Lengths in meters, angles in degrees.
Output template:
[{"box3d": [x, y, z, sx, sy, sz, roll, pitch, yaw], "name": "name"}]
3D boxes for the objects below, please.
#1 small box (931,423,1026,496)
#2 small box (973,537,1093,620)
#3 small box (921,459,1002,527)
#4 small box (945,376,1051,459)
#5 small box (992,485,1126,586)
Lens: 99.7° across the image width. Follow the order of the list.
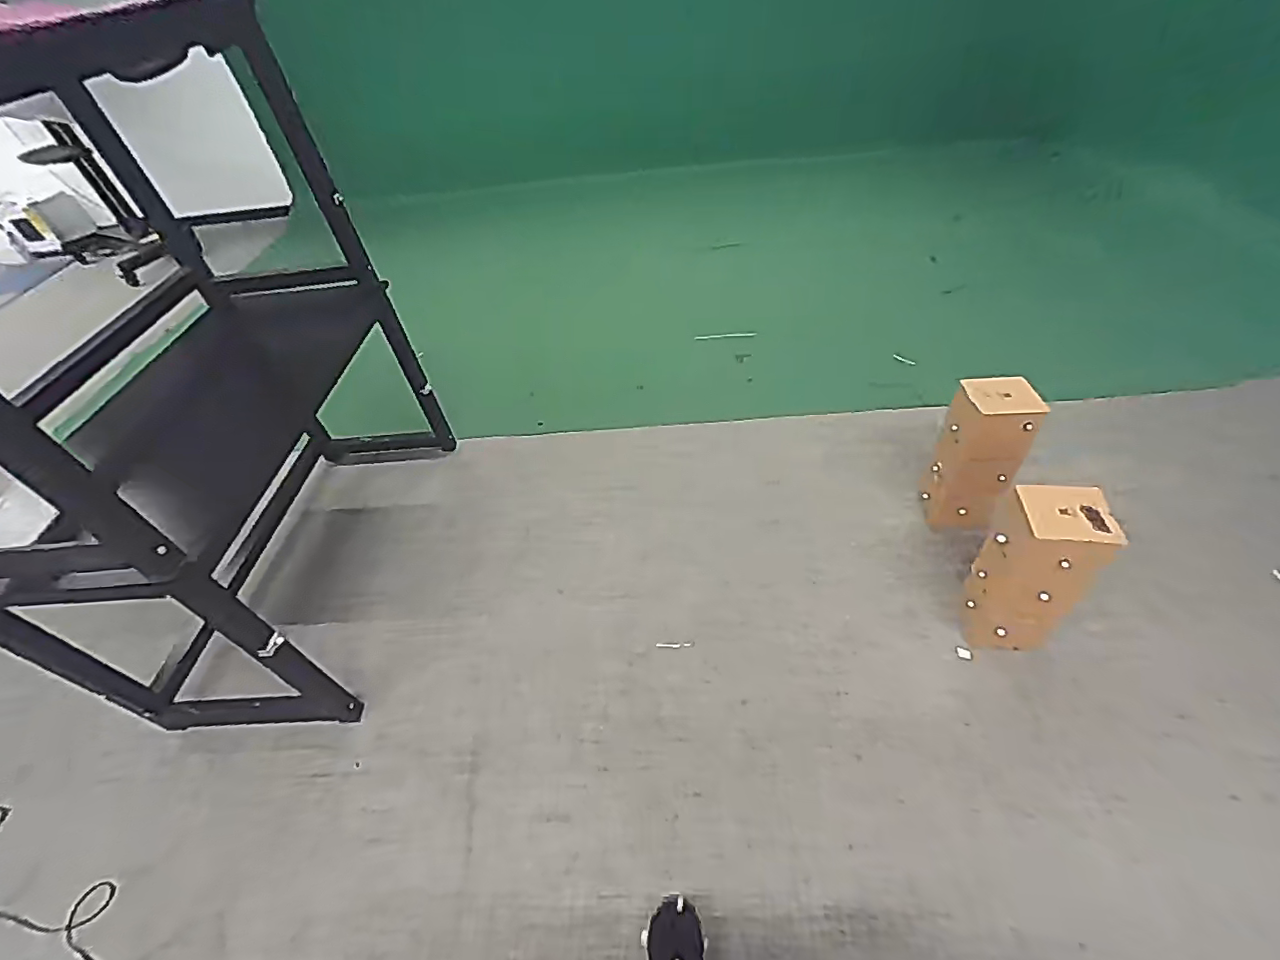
[{"box3d": [1.028, -0.065, 1.660, 0.179, 0.176, 0.168, -4, 46, 6], "name": "small box"}, {"box3d": [0.988, 0.243, 1.379, 0.179, 0.176, 0.168, 2, 48, 11], "name": "small box"}, {"box3d": [1.047, 0.043, 1.780, 0.179, 0.176, 0.168, -1, 47, 8], "name": "small box"}, {"box3d": [1.008, -0.176, 1.539, 0.179, 0.176, 0.168, -3, 45, 5], "name": "small box"}, {"box3d": [0.962, 0.131, 1.261, 0.179, 0.176, 0.168, 3, 48, 13], "name": "small box"}]
